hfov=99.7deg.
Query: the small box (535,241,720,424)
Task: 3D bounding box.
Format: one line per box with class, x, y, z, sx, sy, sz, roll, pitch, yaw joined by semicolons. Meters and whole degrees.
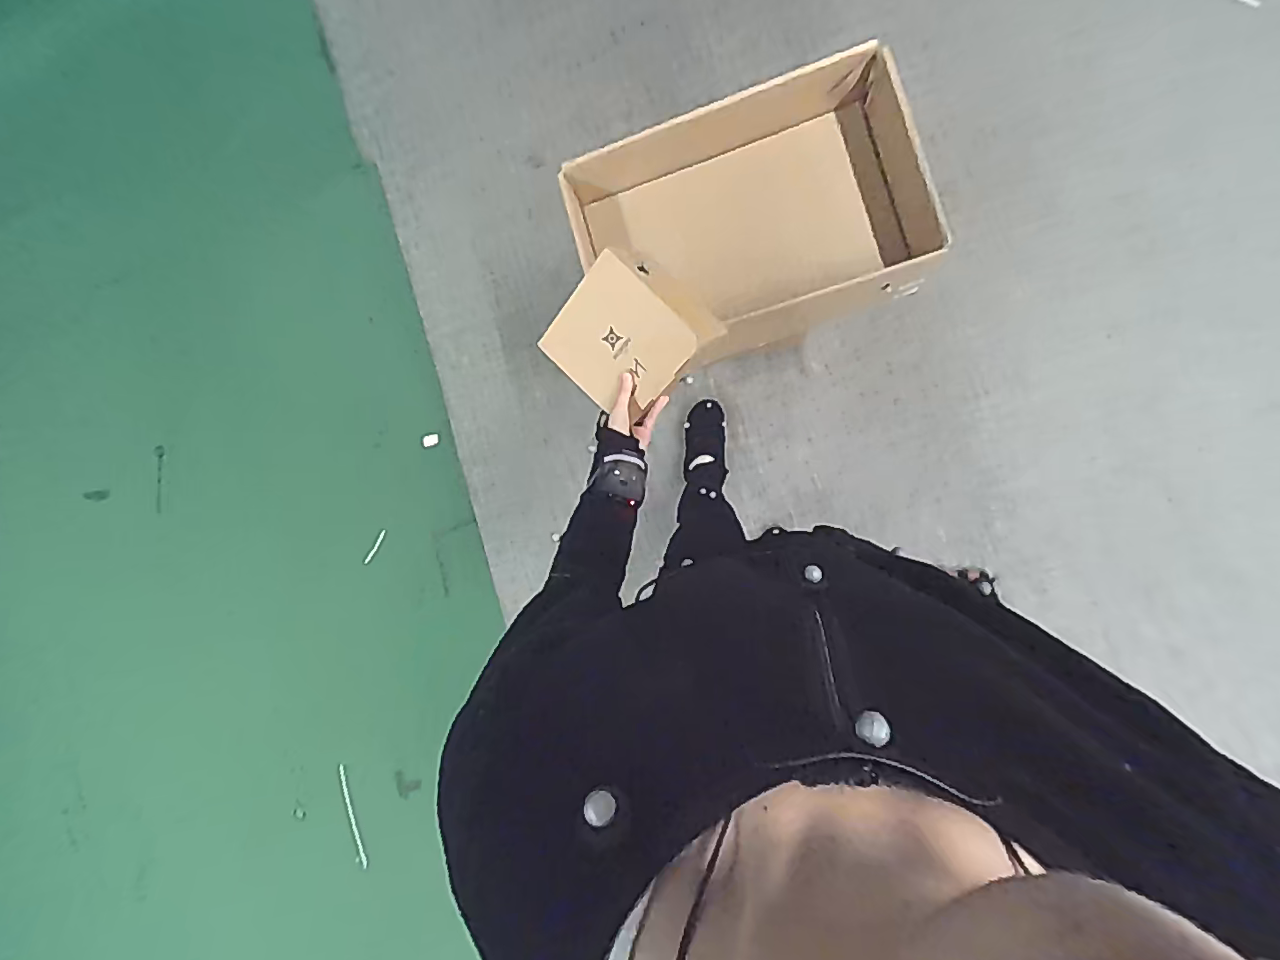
small box;-0.010;-0.209;0.777;0.179;0.176;0.168;45;116;0
